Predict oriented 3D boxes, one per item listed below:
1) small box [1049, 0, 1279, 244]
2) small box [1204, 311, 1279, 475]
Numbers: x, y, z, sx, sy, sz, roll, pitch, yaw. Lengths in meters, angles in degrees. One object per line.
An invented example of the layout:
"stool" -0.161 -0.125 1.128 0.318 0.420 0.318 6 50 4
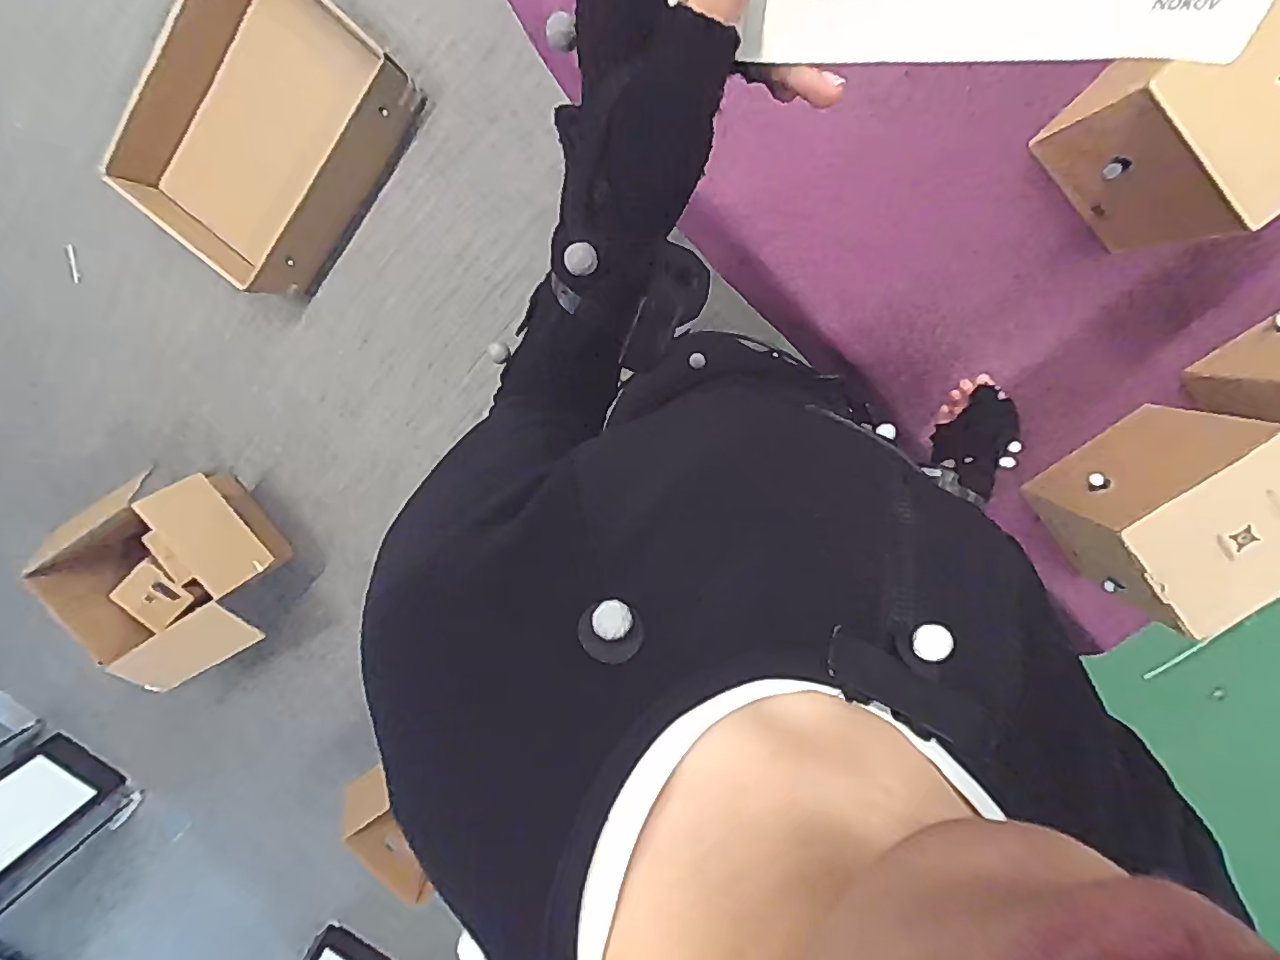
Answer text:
"small box" 0.540 -0.353 0.511 0.168 0.176 0.179 44 104 -8
"small box" 0.762 -0.101 0.563 0.179 0.176 0.168 -36 100 14
